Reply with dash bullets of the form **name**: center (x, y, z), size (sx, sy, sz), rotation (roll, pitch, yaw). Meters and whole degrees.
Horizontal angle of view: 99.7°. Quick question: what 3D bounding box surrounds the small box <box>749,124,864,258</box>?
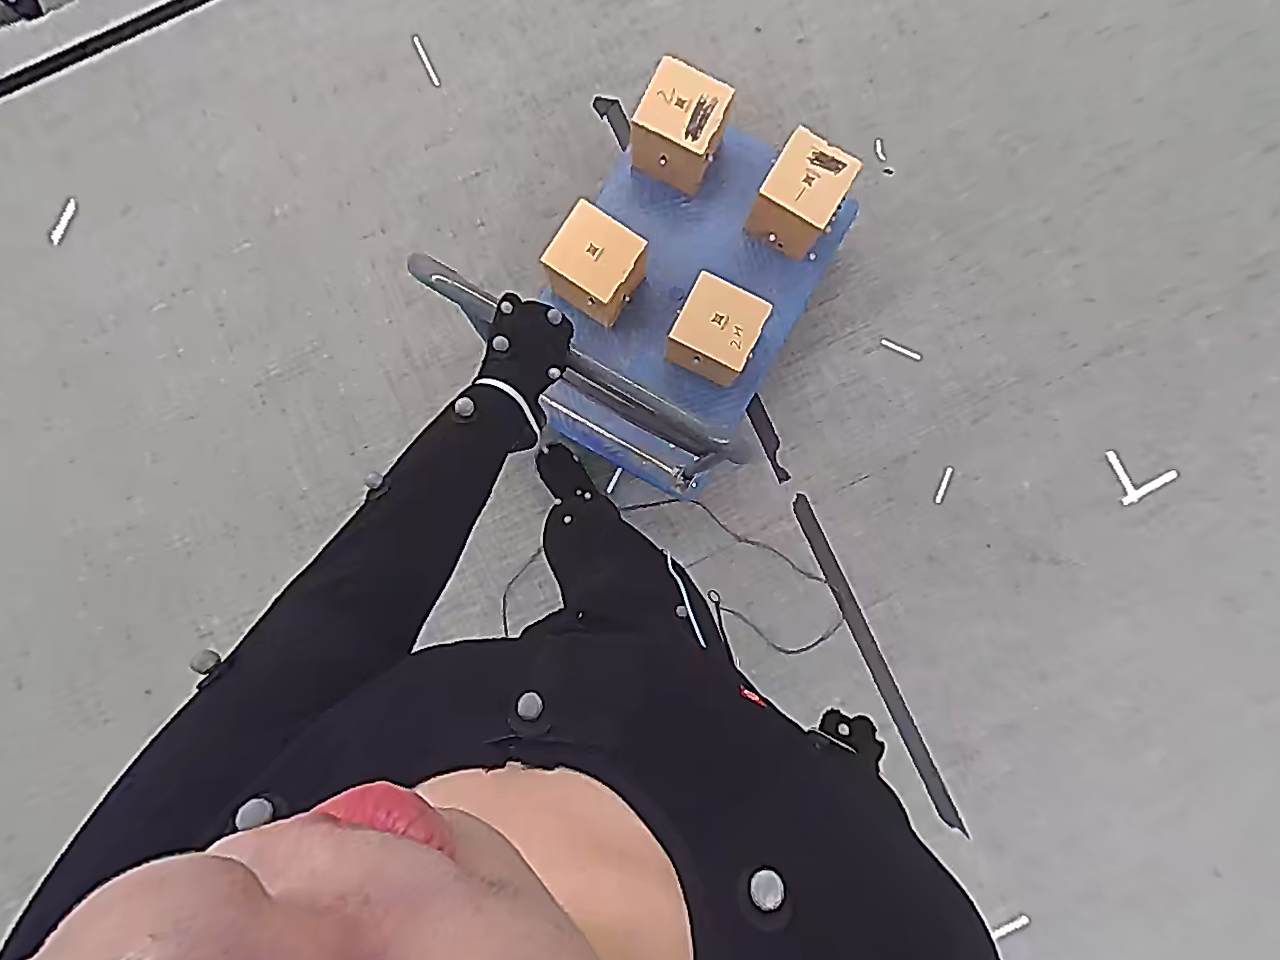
- **small box**: center (0.372, -0.655, 1.246), size (0.168, 0.176, 0.179), rotation (32, 89, 0)

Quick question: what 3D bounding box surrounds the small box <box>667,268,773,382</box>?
- **small box**: center (0.173, -0.342, 1.235), size (0.179, 0.176, 0.168), rotation (28, 89, 0)

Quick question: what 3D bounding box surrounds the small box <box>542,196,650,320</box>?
- **small box**: center (-0.098, -0.494, 1.234), size (0.179, 0.176, 0.168), rotation (34, 88, -2)
